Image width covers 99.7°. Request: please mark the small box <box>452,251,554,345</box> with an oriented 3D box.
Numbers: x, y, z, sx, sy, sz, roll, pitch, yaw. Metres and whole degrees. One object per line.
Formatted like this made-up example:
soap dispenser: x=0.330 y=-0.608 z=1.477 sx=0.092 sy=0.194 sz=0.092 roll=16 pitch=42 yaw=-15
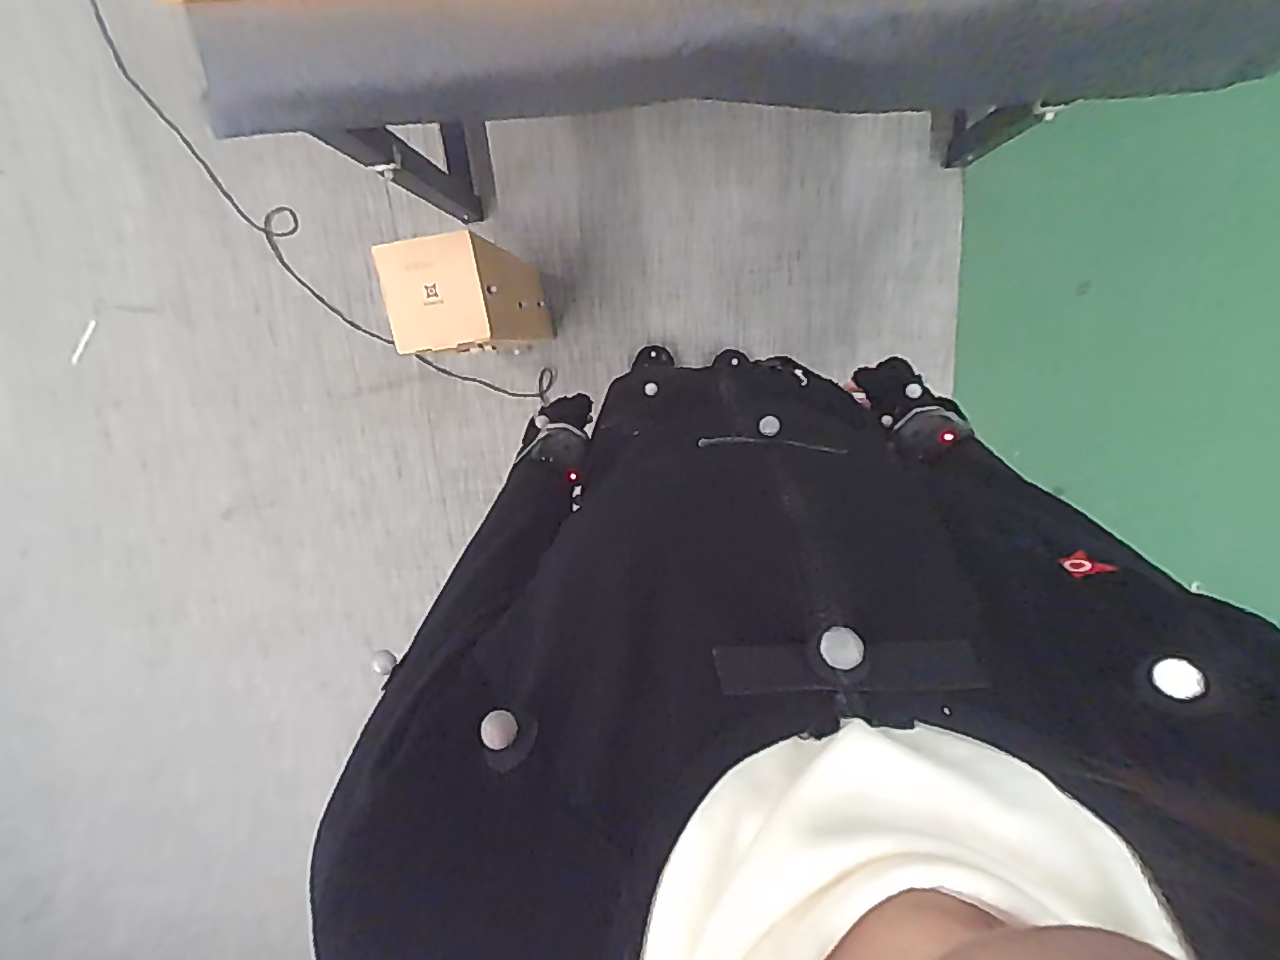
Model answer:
small box: x=-0.314 y=-0.420 z=1.271 sx=0.168 sy=0.176 sz=0.179 roll=-11 pitch=105 yaw=6
